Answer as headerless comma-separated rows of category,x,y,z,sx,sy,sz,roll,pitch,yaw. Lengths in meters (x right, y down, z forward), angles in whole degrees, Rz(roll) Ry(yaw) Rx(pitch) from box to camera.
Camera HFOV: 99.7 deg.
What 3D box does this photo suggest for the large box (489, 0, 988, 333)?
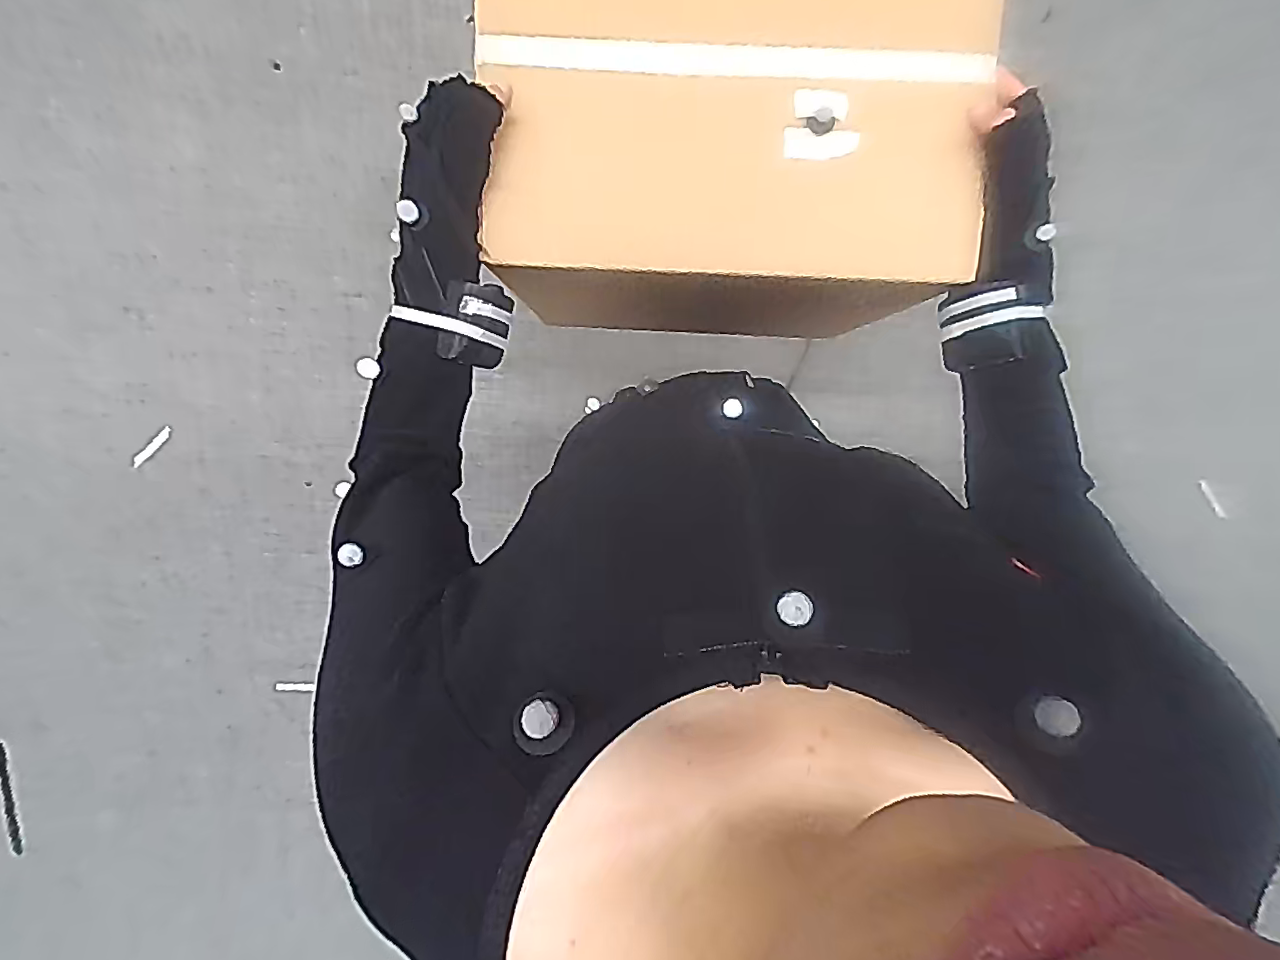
large box,0.074,-0.344,0.584,0.408,0.320,0.320,2,96,-1
